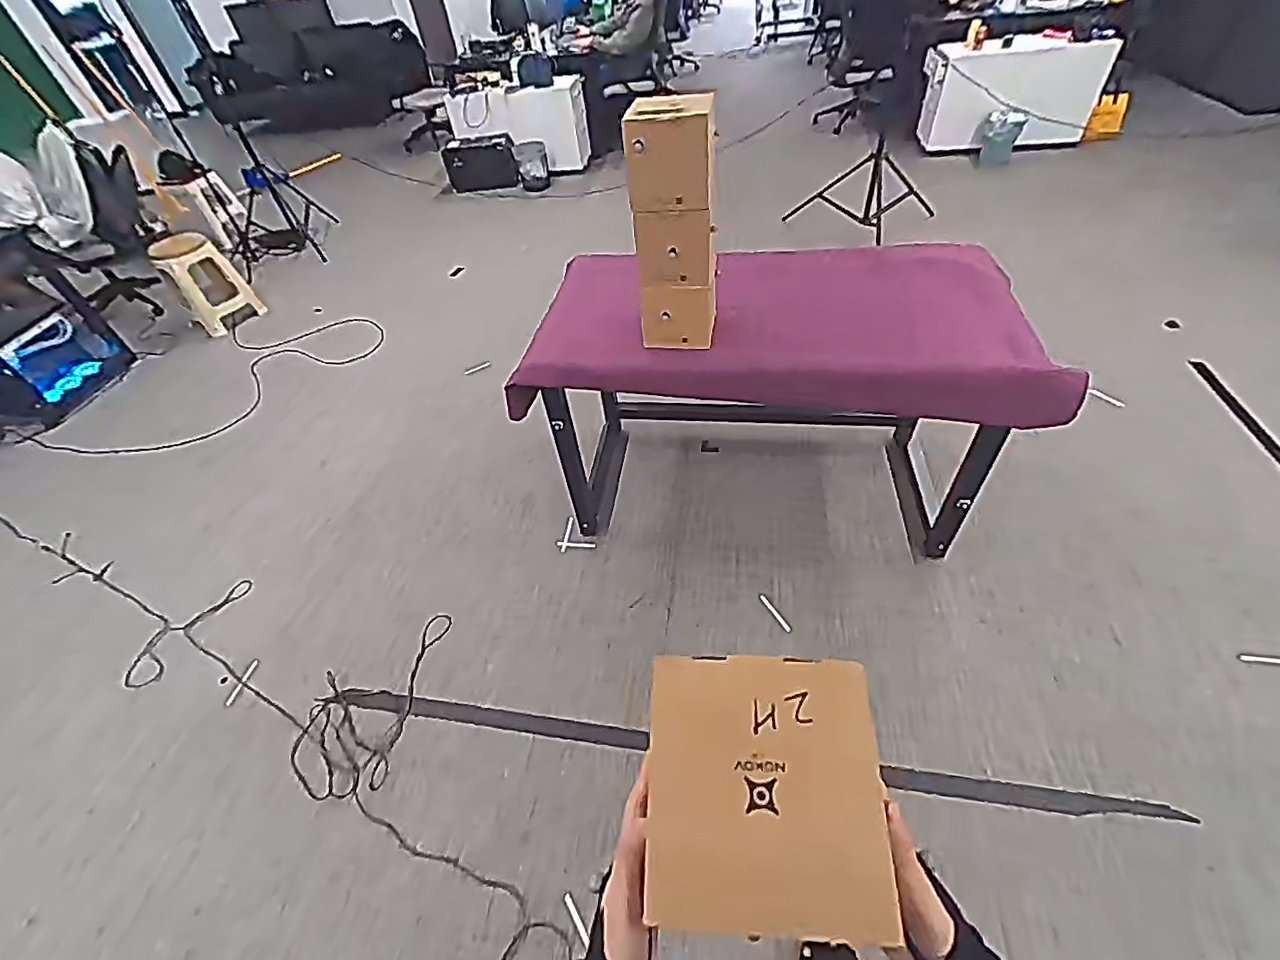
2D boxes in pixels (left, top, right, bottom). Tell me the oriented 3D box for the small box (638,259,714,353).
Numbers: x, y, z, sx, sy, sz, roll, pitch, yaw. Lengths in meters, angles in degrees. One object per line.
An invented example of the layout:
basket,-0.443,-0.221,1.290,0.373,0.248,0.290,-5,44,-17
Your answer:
small box,0.098,-0.435,1.358,0.168,0.176,0.179,4,47,11

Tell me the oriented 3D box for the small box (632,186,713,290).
small box,0.082,-0.552,1.244,0.168,0.176,0.179,2,47,9

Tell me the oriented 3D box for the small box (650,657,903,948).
small box,0.102,0.261,0.461,0.168,0.176,0.179,-1,58,7
